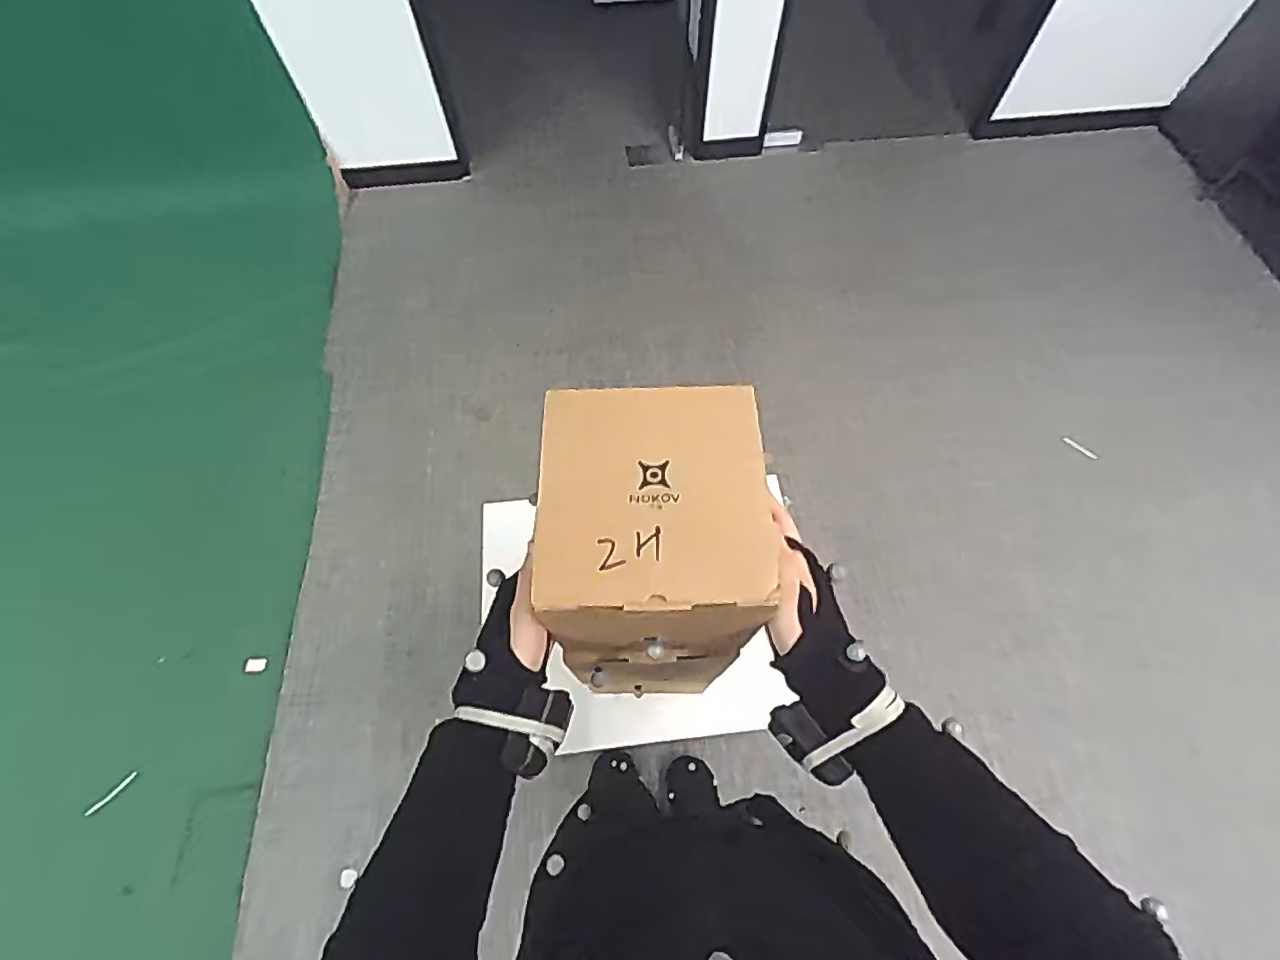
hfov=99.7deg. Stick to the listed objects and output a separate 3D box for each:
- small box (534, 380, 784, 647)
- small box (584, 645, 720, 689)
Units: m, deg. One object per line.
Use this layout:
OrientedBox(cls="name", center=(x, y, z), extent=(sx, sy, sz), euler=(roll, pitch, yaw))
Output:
OrientedBox(cls="small box", center=(0.012, 0.035, 0.457), extent=(0.168, 0.176, 0.179), euler=(-1, 63, 0))
OrientedBox(cls="small box", center=(0.013, 0.187, 0.750), extent=(0.168, 0.176, 0.179), euler=(0, 63, 0))
